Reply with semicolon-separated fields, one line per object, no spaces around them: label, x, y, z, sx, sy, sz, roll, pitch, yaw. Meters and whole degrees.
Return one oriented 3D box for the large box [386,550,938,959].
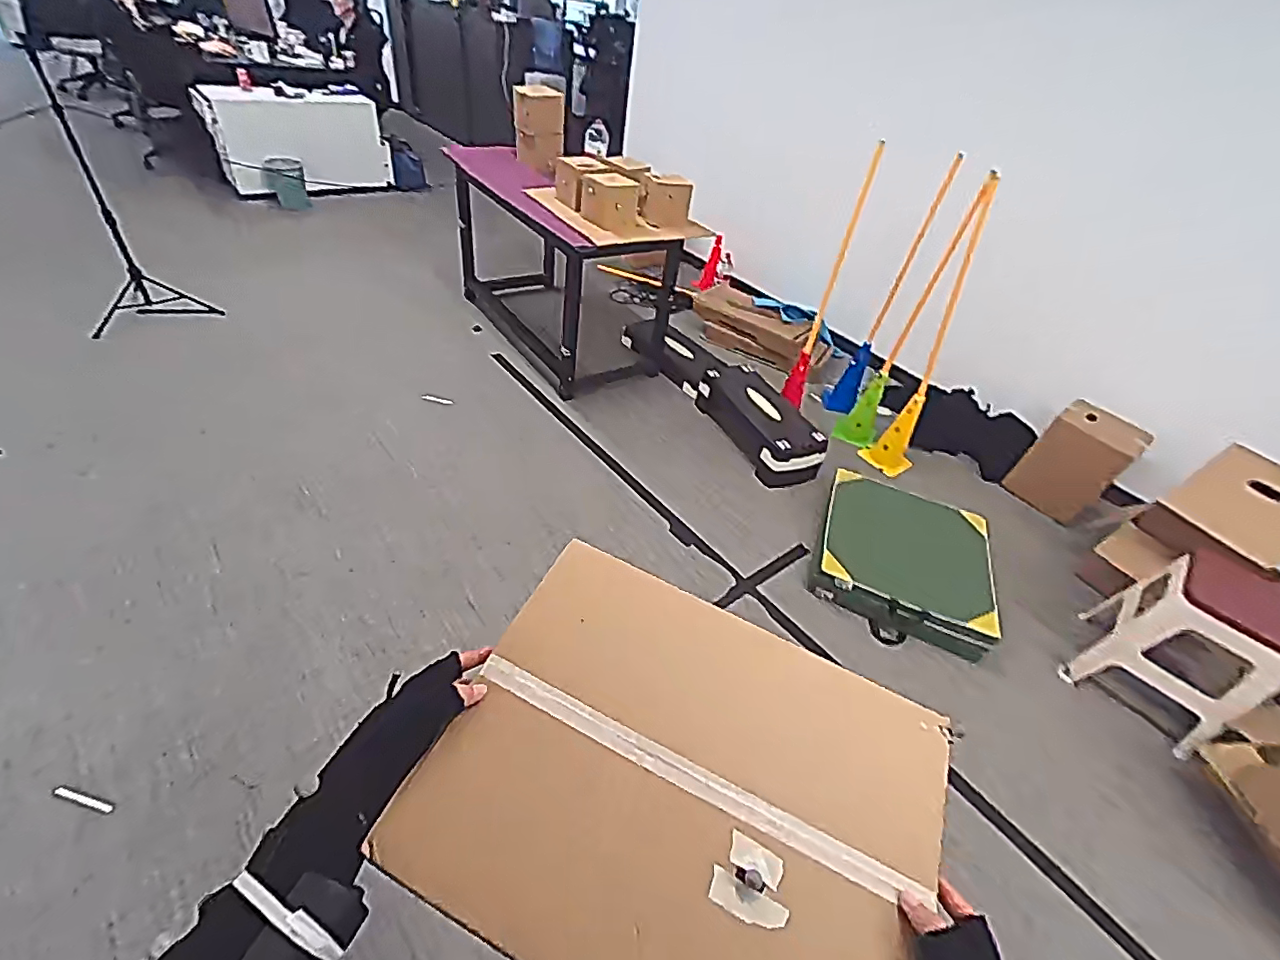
large box;0.025;0.346;0.576;0.408;0.320;0.320;25;52;11
